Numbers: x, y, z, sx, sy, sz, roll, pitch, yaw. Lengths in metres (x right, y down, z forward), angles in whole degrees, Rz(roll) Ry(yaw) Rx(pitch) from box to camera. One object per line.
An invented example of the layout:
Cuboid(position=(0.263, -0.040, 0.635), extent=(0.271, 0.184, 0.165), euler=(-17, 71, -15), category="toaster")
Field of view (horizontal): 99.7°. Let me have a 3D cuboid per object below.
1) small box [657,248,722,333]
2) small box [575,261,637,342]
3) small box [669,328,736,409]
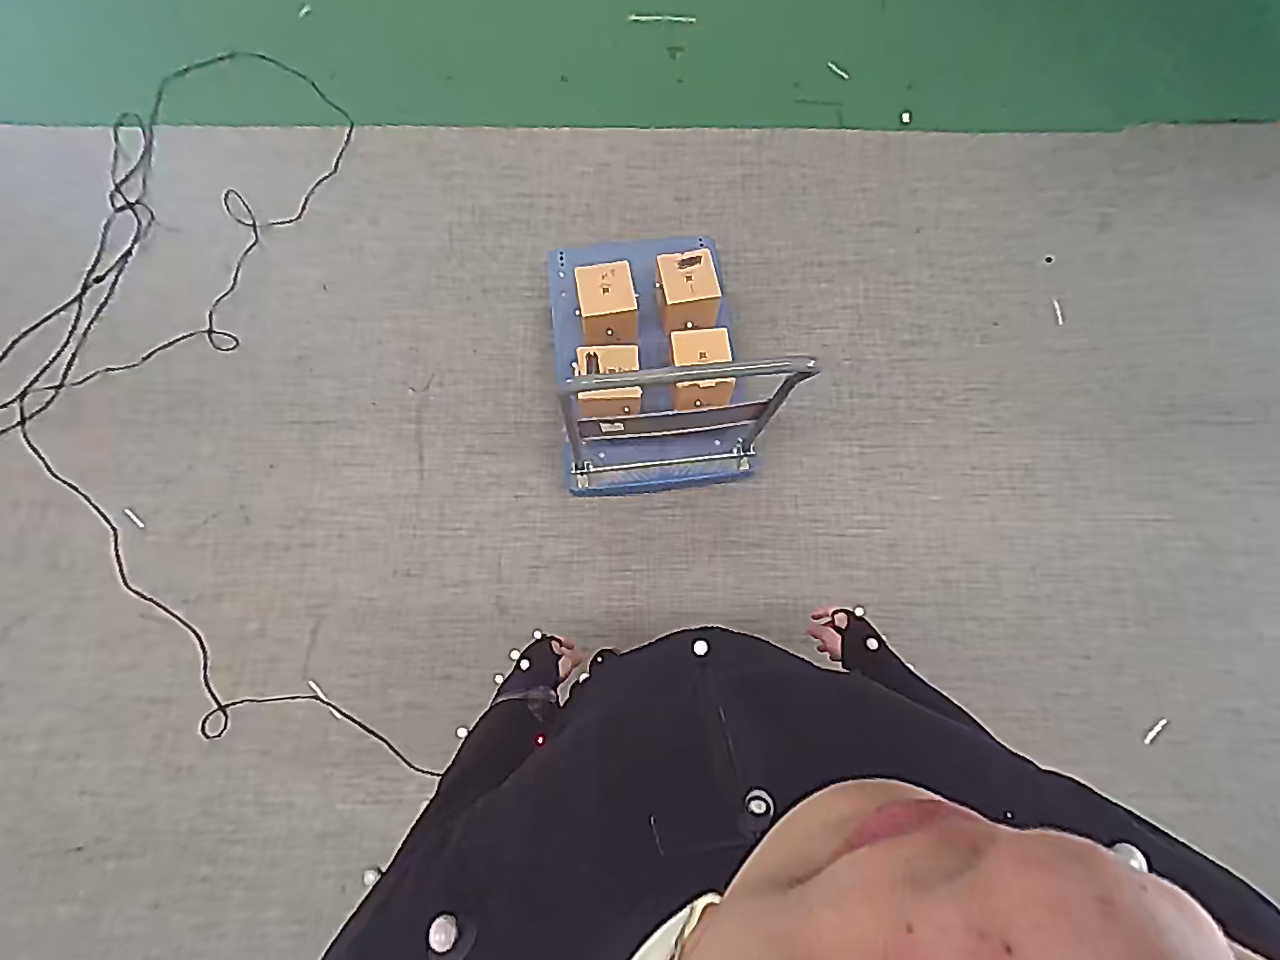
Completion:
Cuboid(position=(0.146, -0.584, 1.678), extent=(0.168, 0.176, 0.179), euler=(-10, 75, -3), category="small box")
Cuboid(position=(-0.101, -0.540, 1.662), extent=(0.168, 0.176, 0.179), euler=(-9, 73, -4), category="small box")
Cuboid(position=(0.179, -0.327, 1.602), extent=(0.168, 0.176, 0.179), euler=(-5, 74, -3), category="small box")
